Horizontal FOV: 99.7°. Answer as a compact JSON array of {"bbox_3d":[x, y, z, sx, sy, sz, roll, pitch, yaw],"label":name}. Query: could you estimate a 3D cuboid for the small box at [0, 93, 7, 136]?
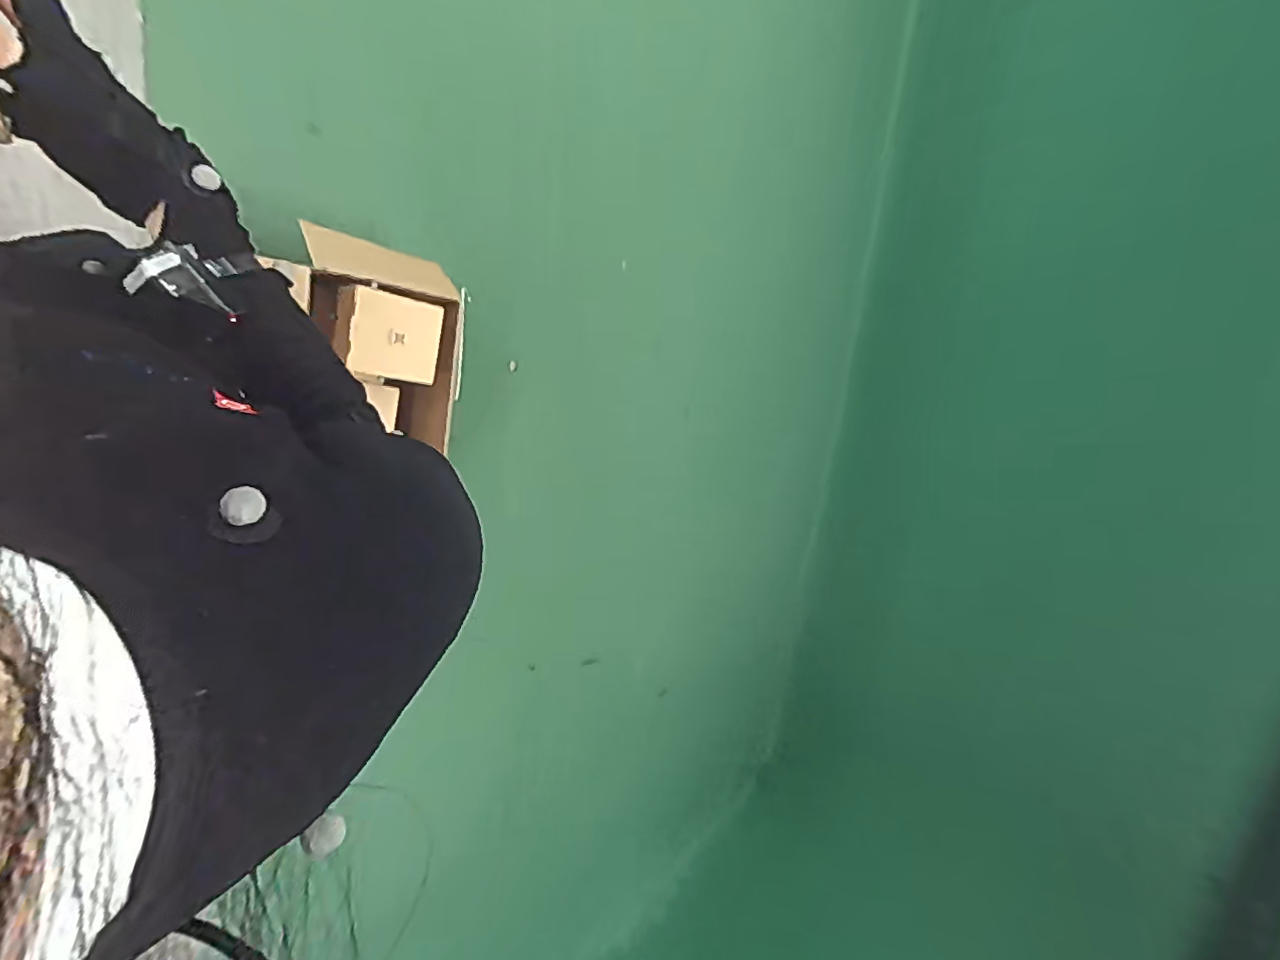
[{"bbox_3d":[-0.438,-0.279,0.247,0.168,0.176,0.179,-14,120,-43],"label":"small box"}]
